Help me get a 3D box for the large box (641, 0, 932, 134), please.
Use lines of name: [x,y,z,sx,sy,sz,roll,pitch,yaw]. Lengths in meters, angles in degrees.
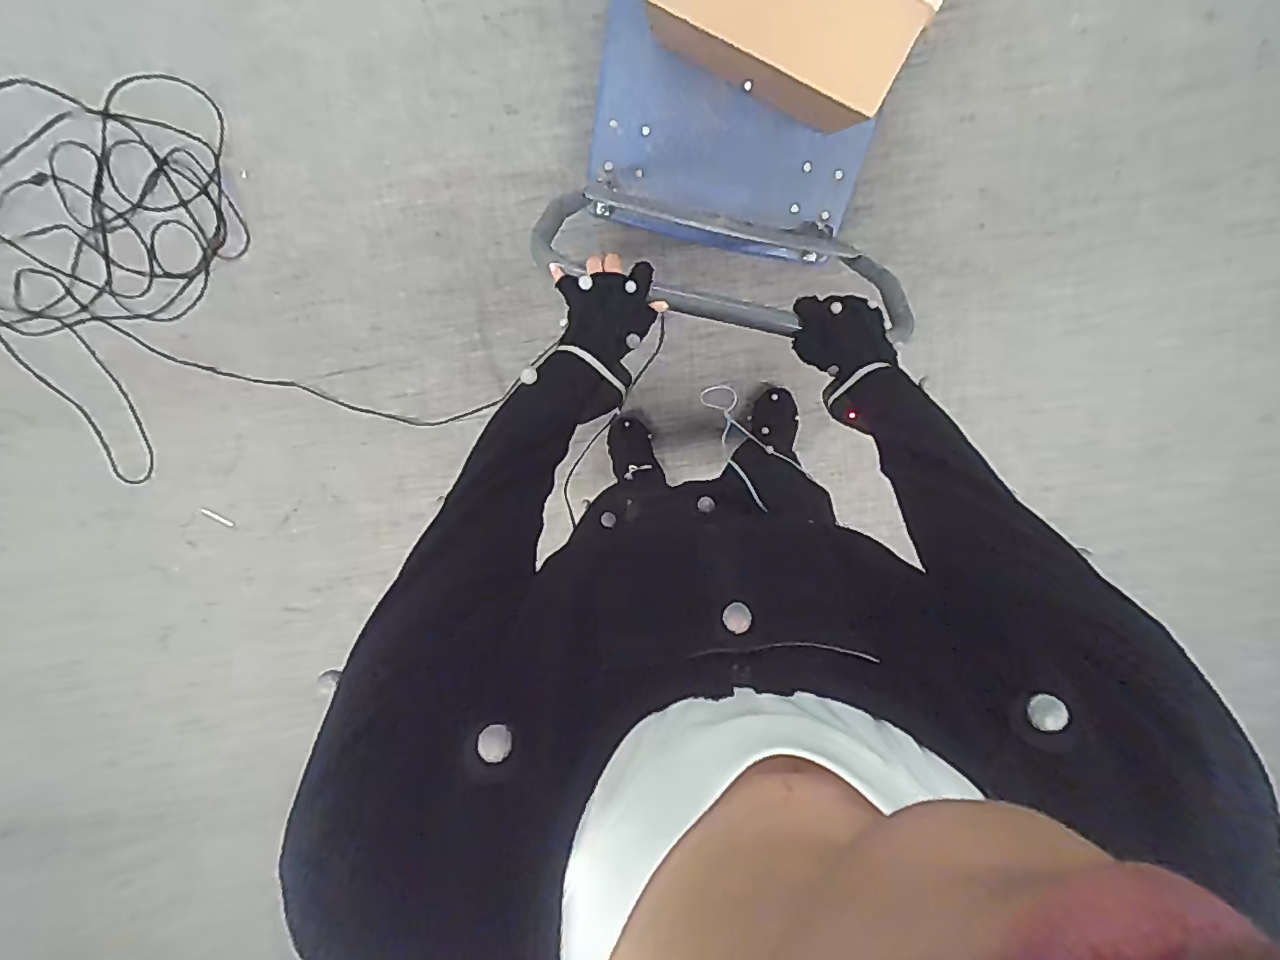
large box: [0.256,-0.833,0.901,0.408,0.320,0.320,23,118,-6]
